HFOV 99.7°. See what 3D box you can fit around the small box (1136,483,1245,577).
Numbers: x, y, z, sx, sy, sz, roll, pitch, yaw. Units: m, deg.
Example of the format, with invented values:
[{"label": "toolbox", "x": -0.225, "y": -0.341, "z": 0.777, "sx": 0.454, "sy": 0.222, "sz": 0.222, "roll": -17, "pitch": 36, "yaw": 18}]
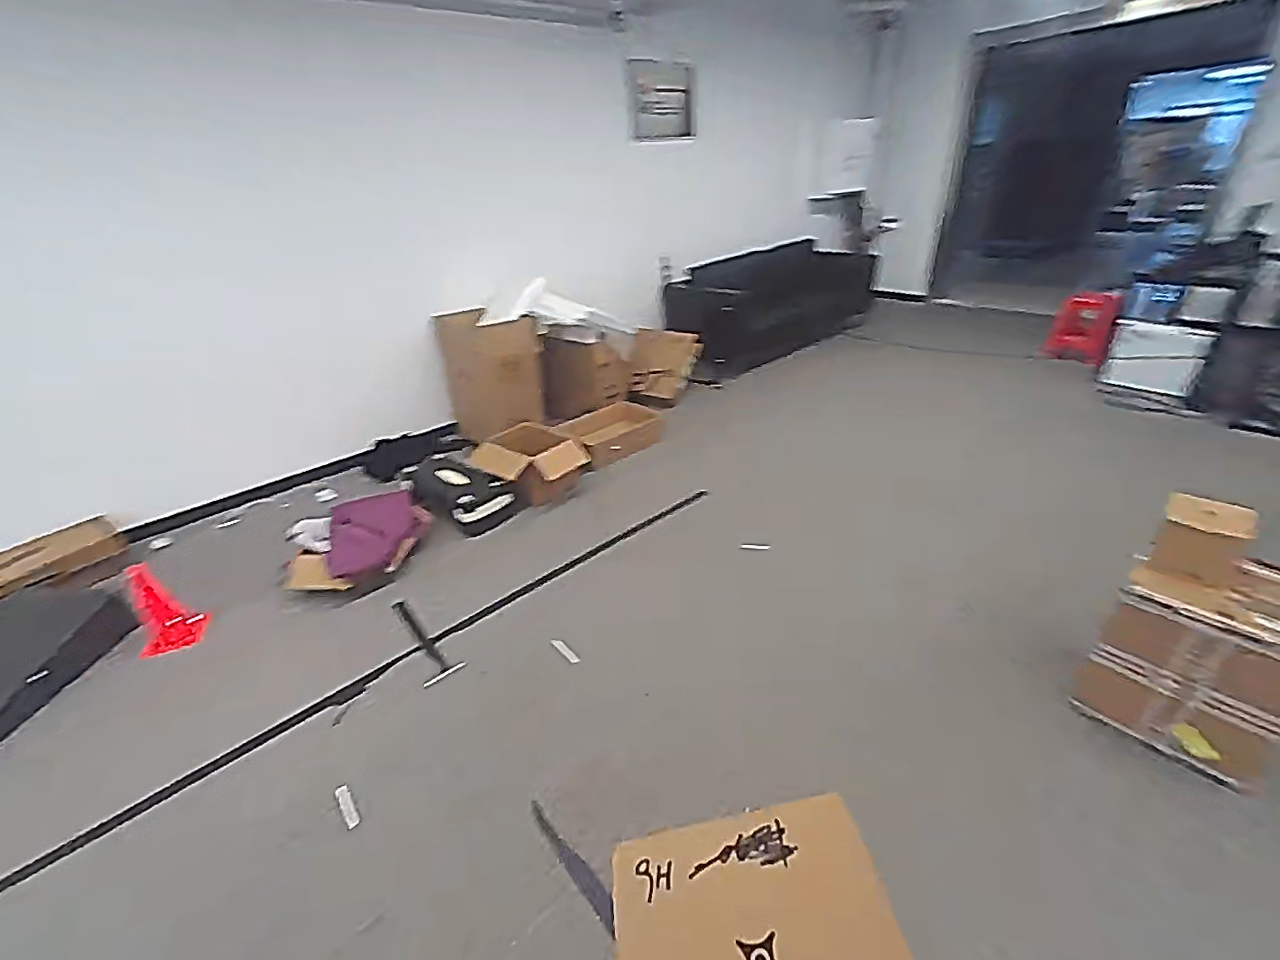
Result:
[{"label": "small box", "x": 1.526, "y": 0.136, "z": 1.505, "sx": 0.179, "sy": 0.176, "sz": 0.168, "roll": -30, "pitch": 36, "yaw": -33}]
